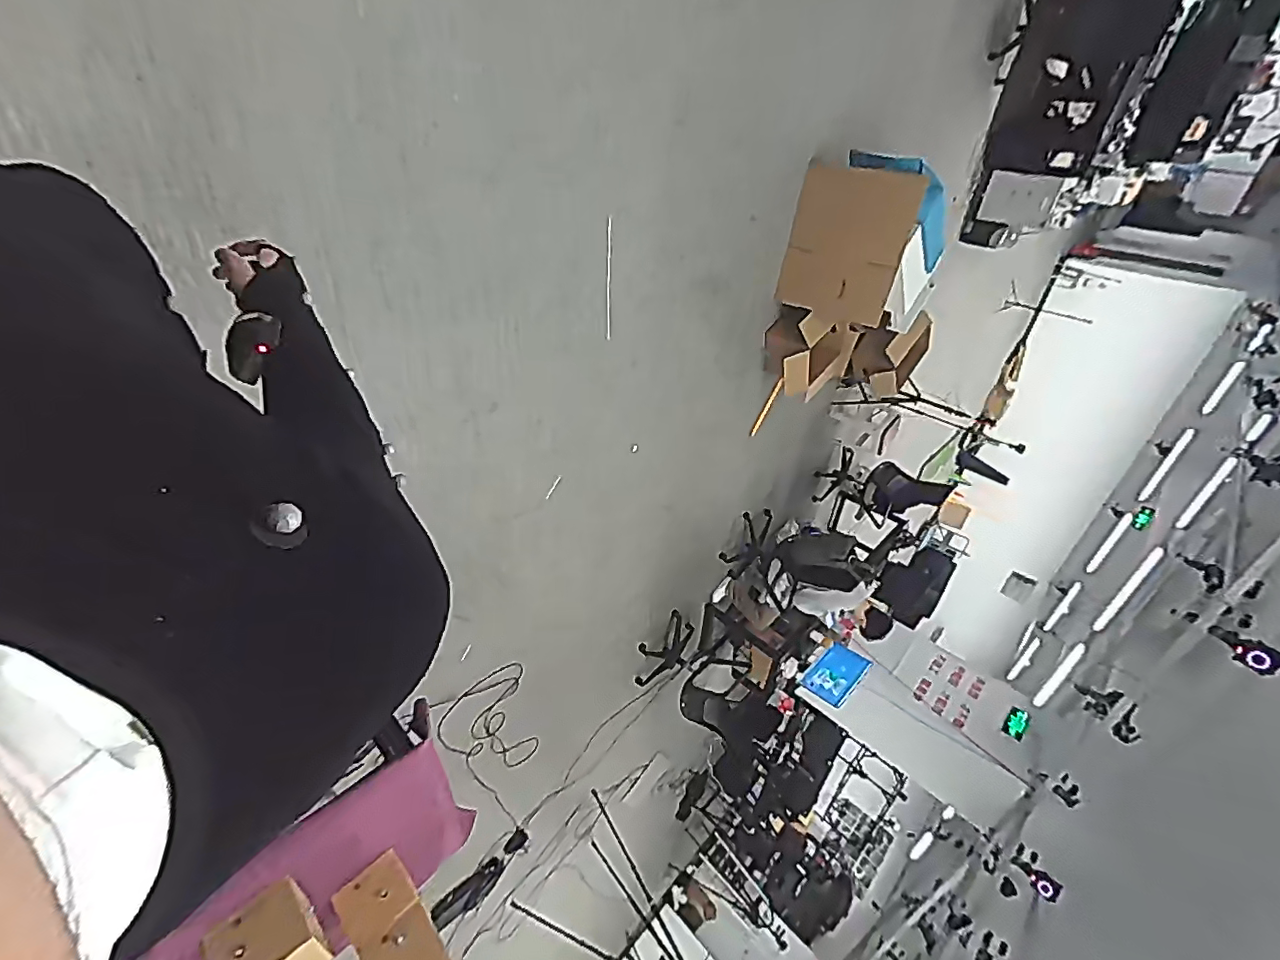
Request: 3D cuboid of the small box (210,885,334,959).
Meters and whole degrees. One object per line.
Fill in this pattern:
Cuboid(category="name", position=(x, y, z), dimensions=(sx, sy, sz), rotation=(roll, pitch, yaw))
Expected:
Cuboid(category="small box", position=(-0.821, 1.064, 1.213), dimensions=(0.168, 0.176, 0.179), rotation=(-28, 137, -37))

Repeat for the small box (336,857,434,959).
Cuboid(category="small box", position=(-0.694, 1.179, 1.472), dimensions=(0.168, 0.176, 0.179), rotation=(-31, 138, -36))

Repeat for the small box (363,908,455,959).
Cuboid(category="small box", position=(-0.580, 1.253, 1.380), dimensions=(0.168, 0.176, 0.179), rotation=(-27, 135, -40))
